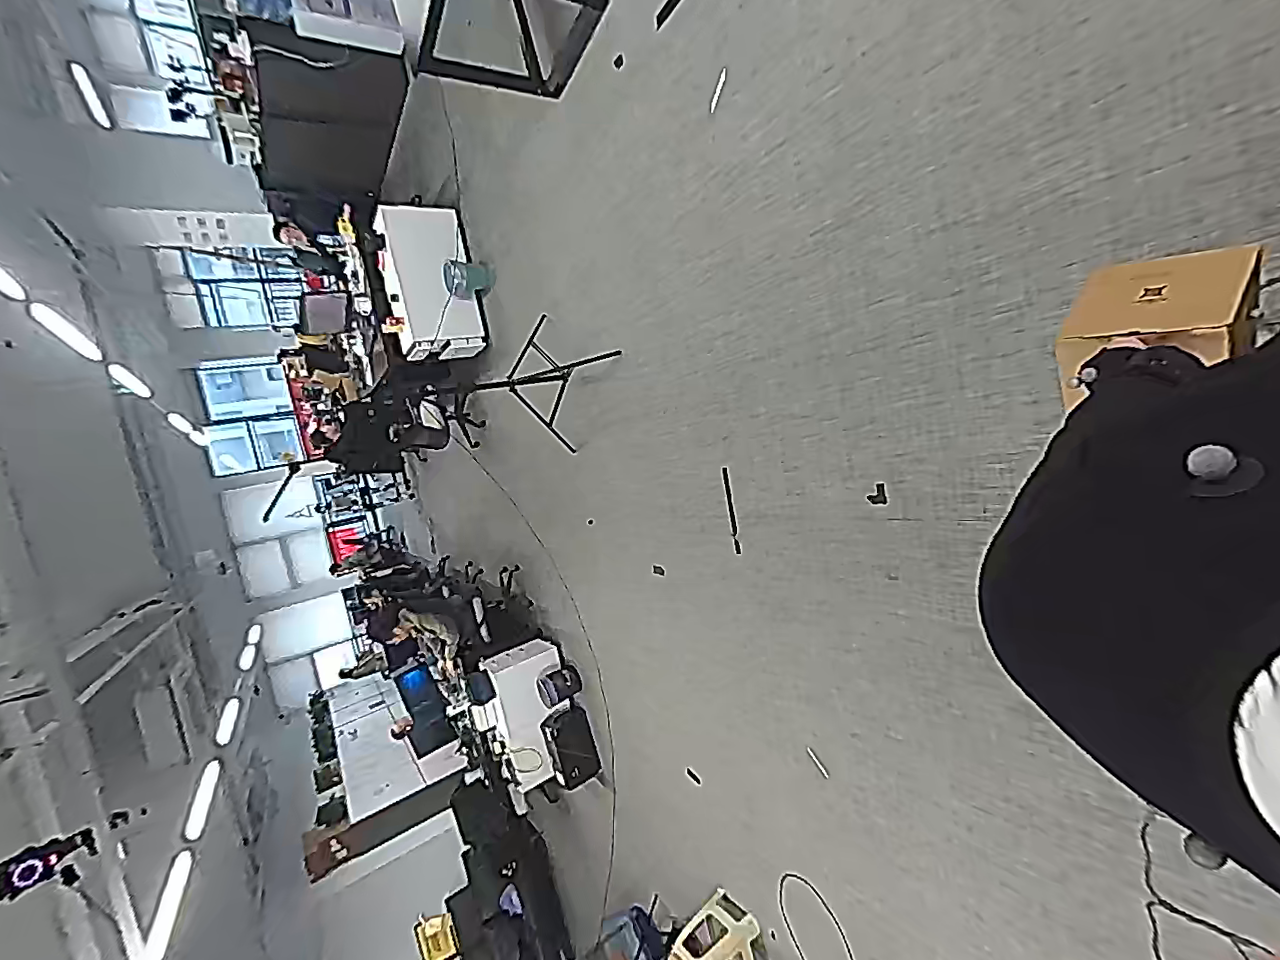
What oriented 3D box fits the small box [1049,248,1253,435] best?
[{"bbox_3d":[0.695,-0.179,0.738,0.168,0.179,0.176,12,145,51],"label":"small box"}]
